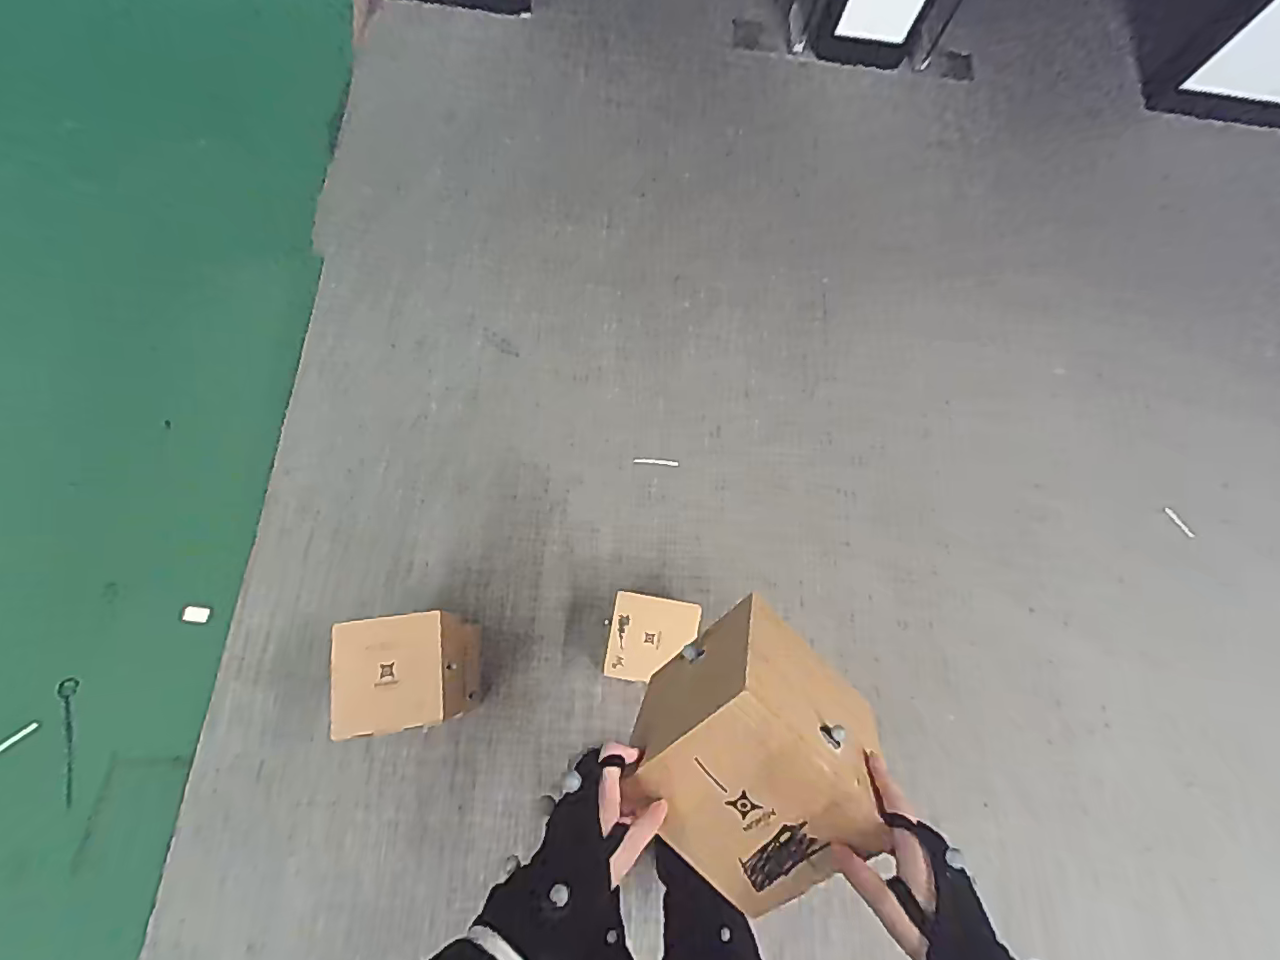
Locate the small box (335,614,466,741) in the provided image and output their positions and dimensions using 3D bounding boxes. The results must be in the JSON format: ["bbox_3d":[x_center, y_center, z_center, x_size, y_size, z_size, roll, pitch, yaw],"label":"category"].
[{"bbox_3d":[-0.399,0.328,0.926,0.168,0.176,0.179,-5,74,-8],"label":"small box"}]

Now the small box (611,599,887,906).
[{"bbox_3d":[0.106,0.253,0.535,0.179,0.176,0.168,43,110,0],"label":"small box"}]

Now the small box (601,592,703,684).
[{"bbox_3d":[0.020,0.338,1.139,0.179,0.176,0.168,11,73,-3],"label":"small box"}]
